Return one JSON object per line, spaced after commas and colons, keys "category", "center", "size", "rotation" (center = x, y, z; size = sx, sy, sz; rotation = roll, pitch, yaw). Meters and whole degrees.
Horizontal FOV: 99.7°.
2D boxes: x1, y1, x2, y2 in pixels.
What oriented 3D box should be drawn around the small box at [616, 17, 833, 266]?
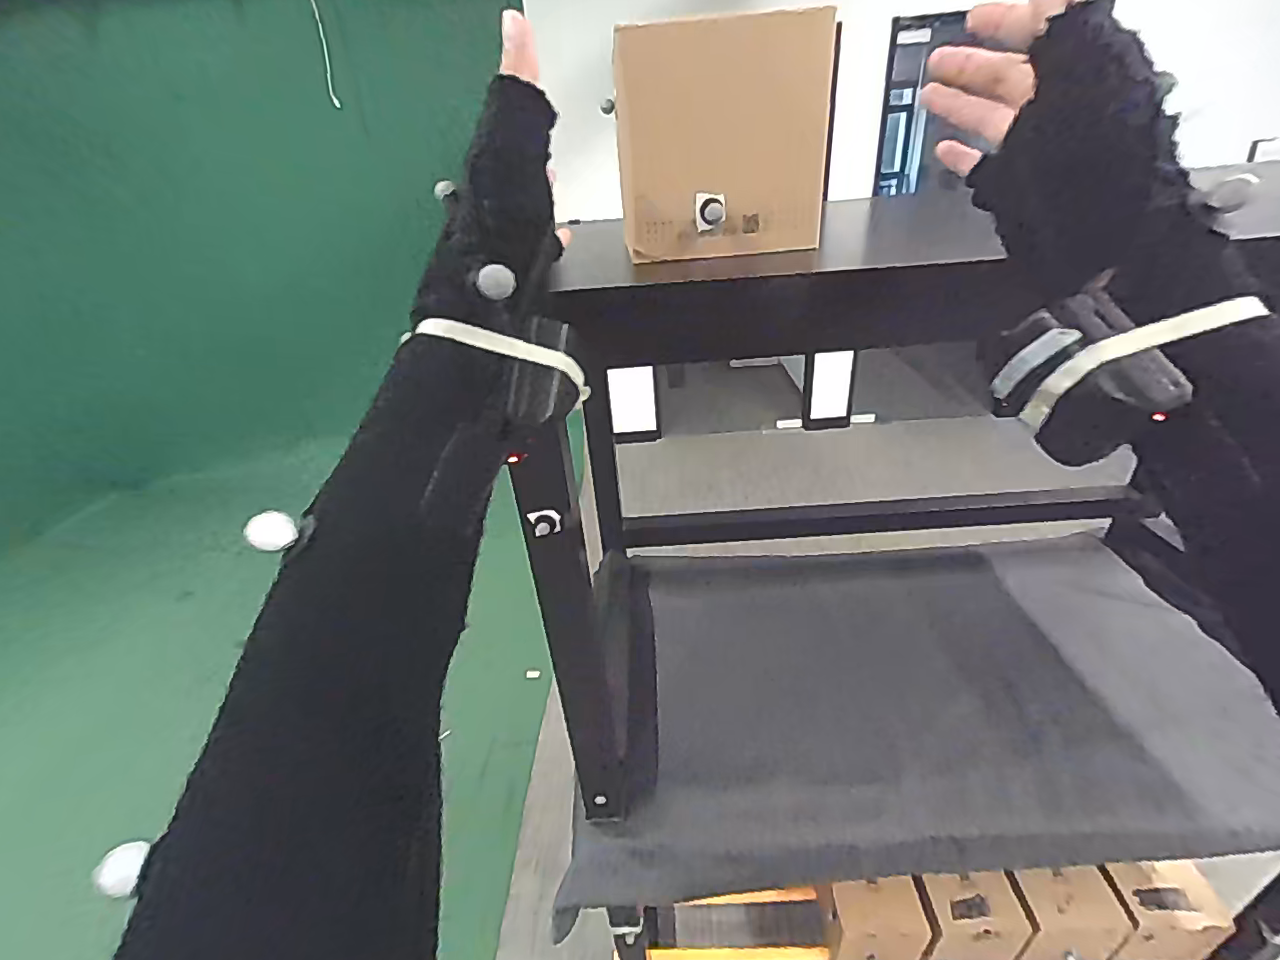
{"category": "small box", "center": [0.066, -0.305, 0.514], "size": [0.168, 0.176, 0.179], "rotation": [-6, 29, 0]}
